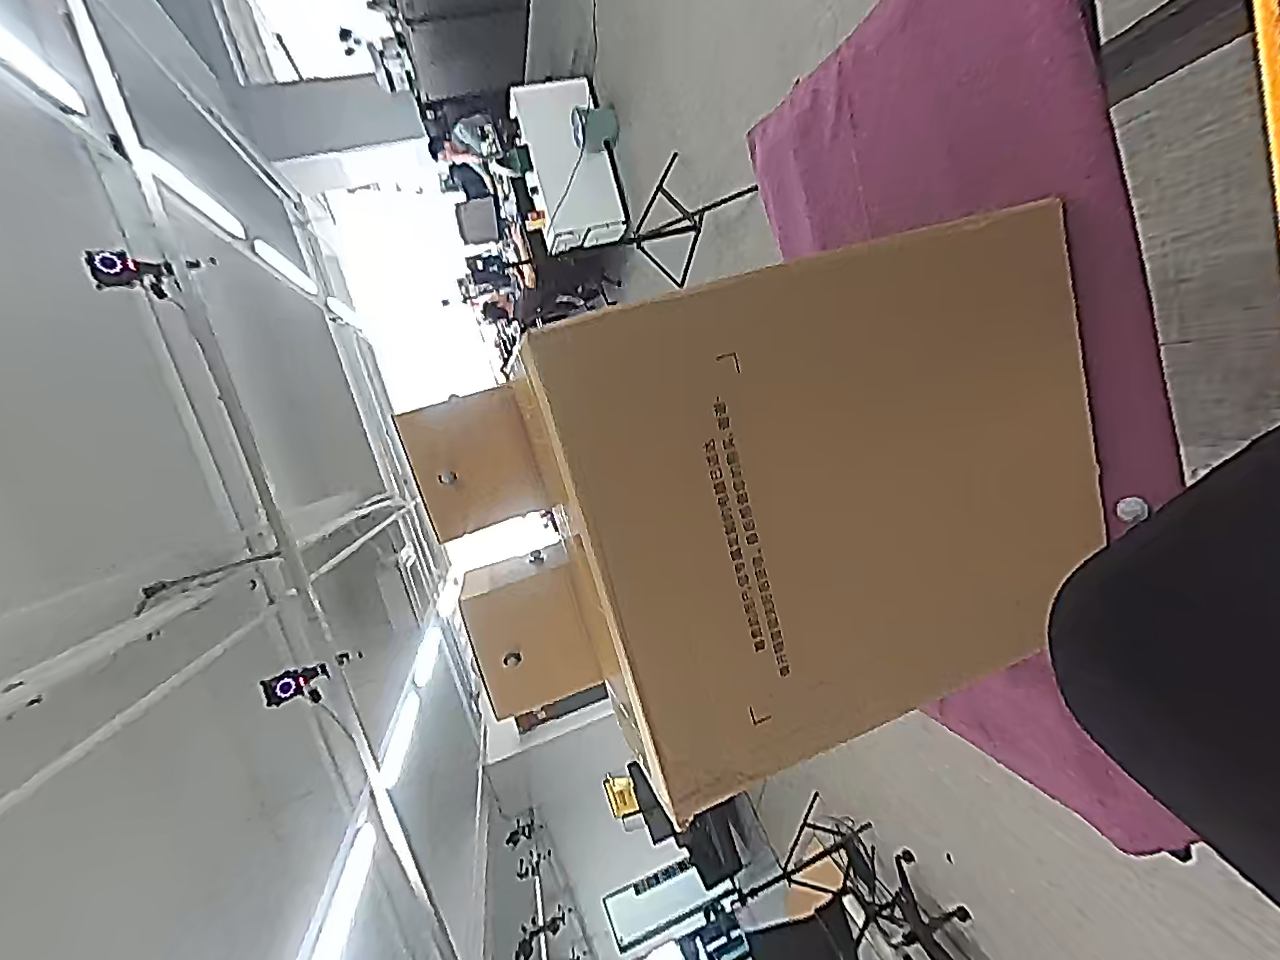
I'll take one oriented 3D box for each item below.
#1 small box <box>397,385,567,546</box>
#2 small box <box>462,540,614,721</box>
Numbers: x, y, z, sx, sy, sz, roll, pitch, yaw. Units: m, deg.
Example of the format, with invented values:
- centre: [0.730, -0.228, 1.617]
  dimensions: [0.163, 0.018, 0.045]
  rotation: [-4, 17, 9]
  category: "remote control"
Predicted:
- centre: [-0.216, -0.026, 0.766]
  dimensions: [0.168, 0.176, 0.179]
  rotation: [-177, 68, -77]
  category: "small box"
- centre: [-0.146, 0.207, 0.791]
  dimensions: [0.168, 0.176, 0.179]
  rotation: [-166, 60, -74]
  category: "small box"
